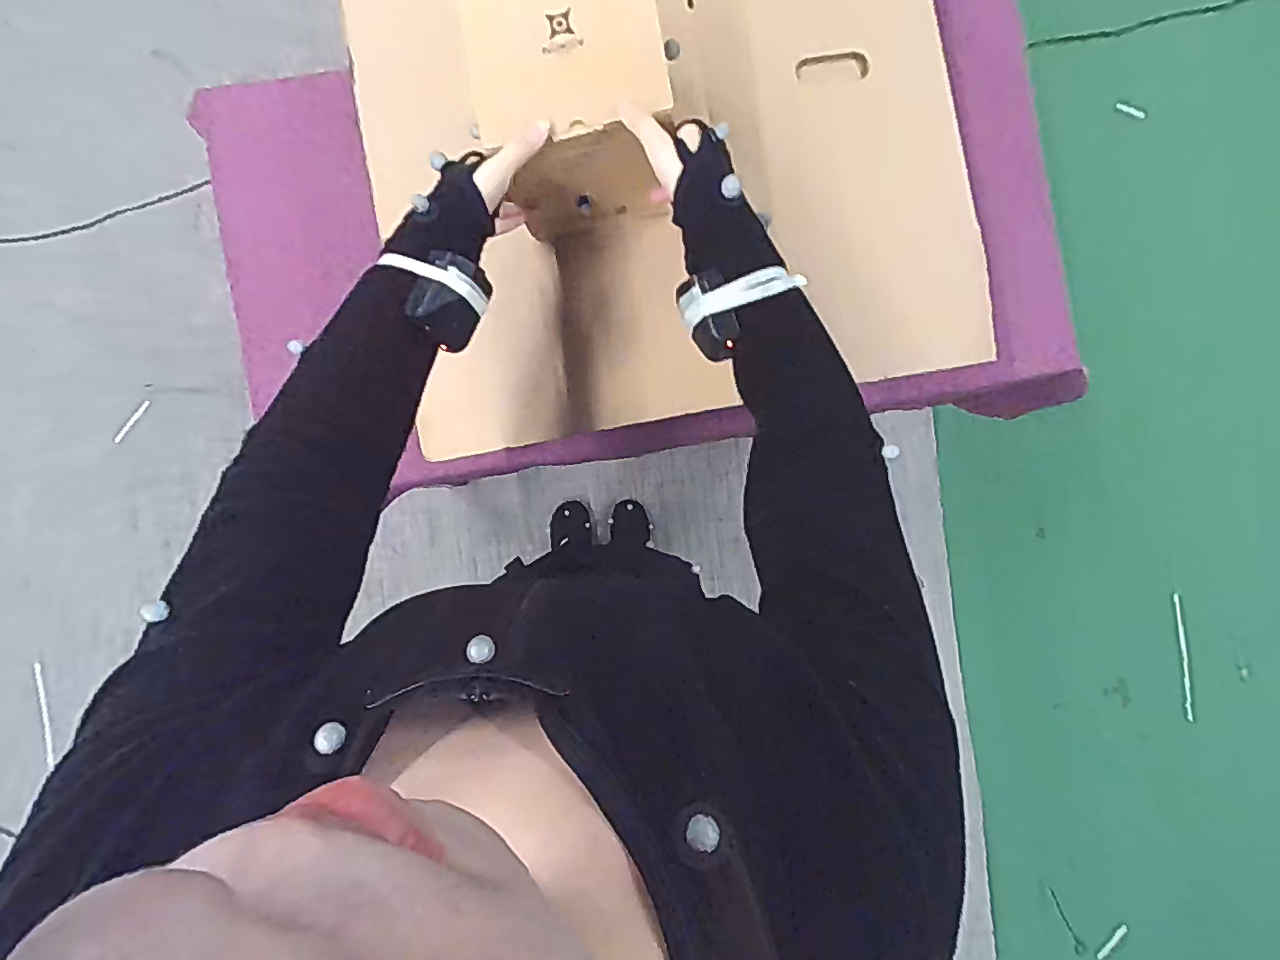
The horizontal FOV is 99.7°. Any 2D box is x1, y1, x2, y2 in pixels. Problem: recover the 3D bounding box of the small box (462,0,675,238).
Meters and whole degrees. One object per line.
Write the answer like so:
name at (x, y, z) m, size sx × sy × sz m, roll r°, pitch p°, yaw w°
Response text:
small box at (-0.060, -0.374, 0.539) m, size 0.168 × 0.176 × 0.179 m, roll -10°, pitch 91°, yaw 4°
